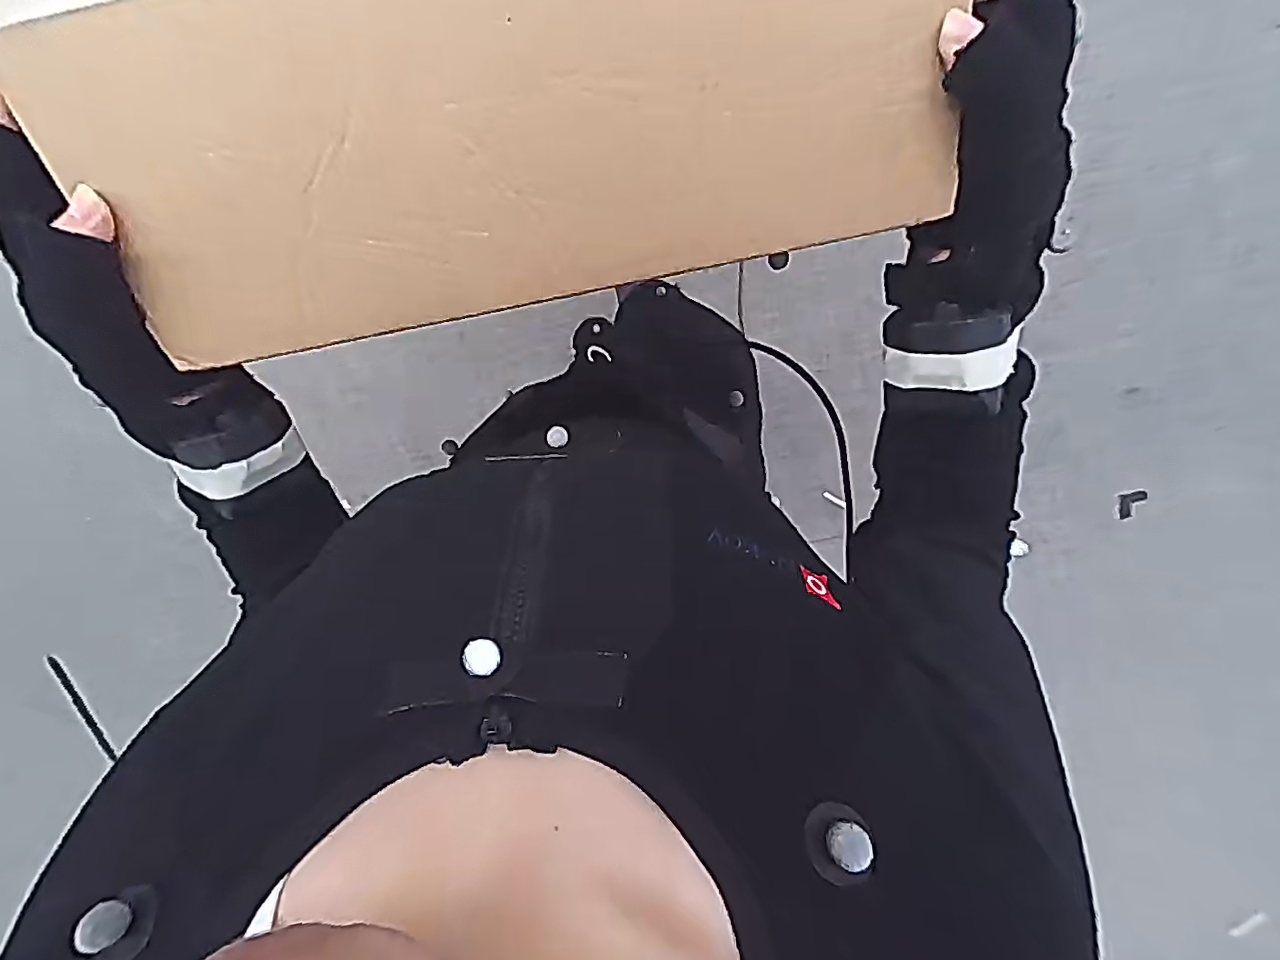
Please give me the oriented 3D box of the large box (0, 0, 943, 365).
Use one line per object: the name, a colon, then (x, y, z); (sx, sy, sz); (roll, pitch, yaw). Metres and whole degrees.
large box: (-0.079, -0.302, 0.344); (0.408, 0.320, 0.320); (-10, 117, 5)
